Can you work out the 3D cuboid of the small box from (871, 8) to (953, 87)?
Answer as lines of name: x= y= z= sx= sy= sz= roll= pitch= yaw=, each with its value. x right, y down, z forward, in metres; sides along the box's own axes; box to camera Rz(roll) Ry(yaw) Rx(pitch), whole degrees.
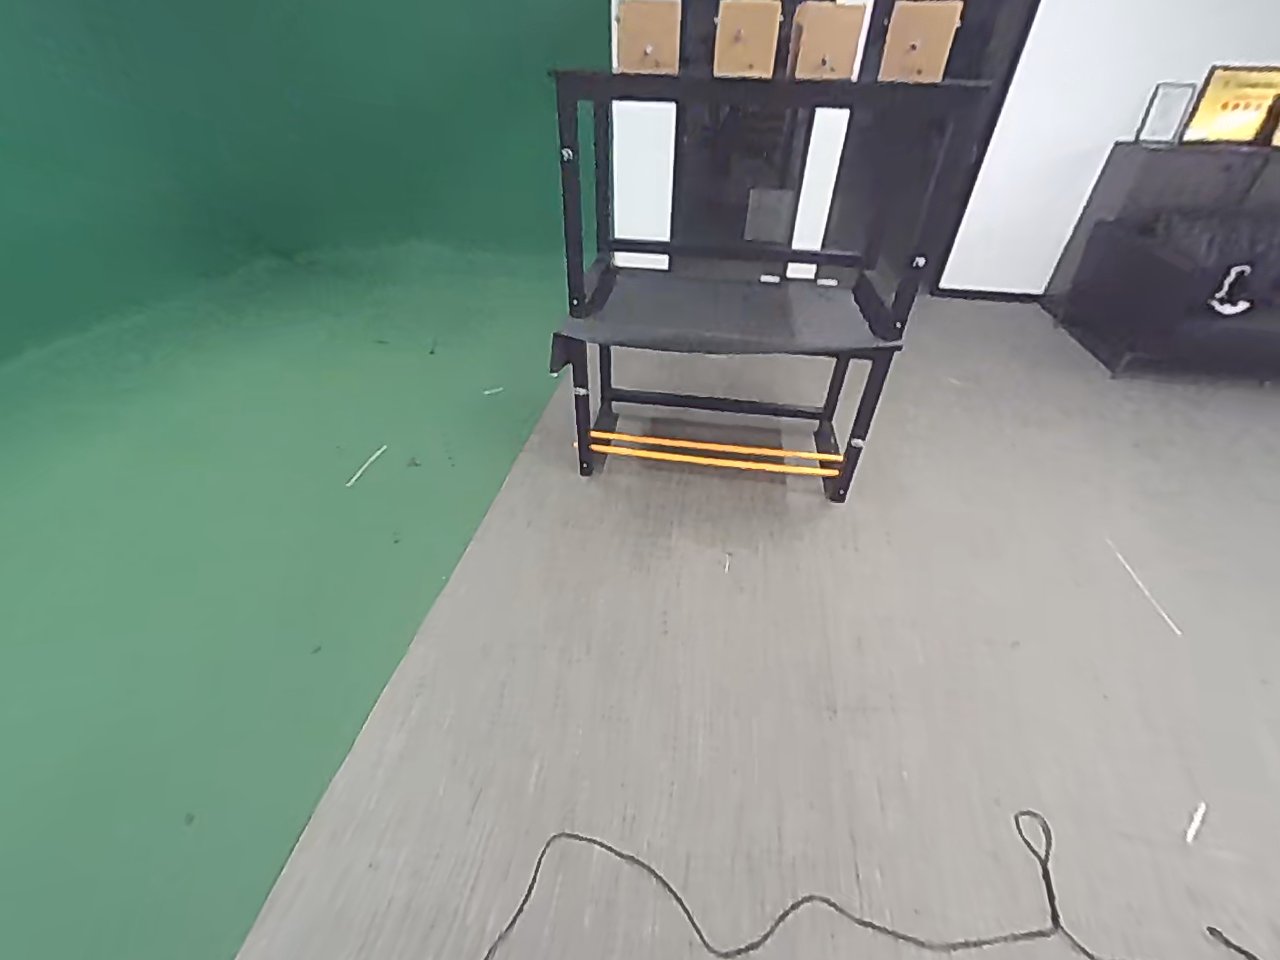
small box: x=0.764 y=-1.221 z=1.532 sx=0.168 sy=0.176 sz=0.179 roll=13 pitch=40 yaw=14

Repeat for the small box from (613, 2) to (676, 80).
small box: x=0.008 y=-1.312 z=1.620 sx=0.168 sy=0.176 sz=0.179 roll=-3 pitch=40 yaw=-7
